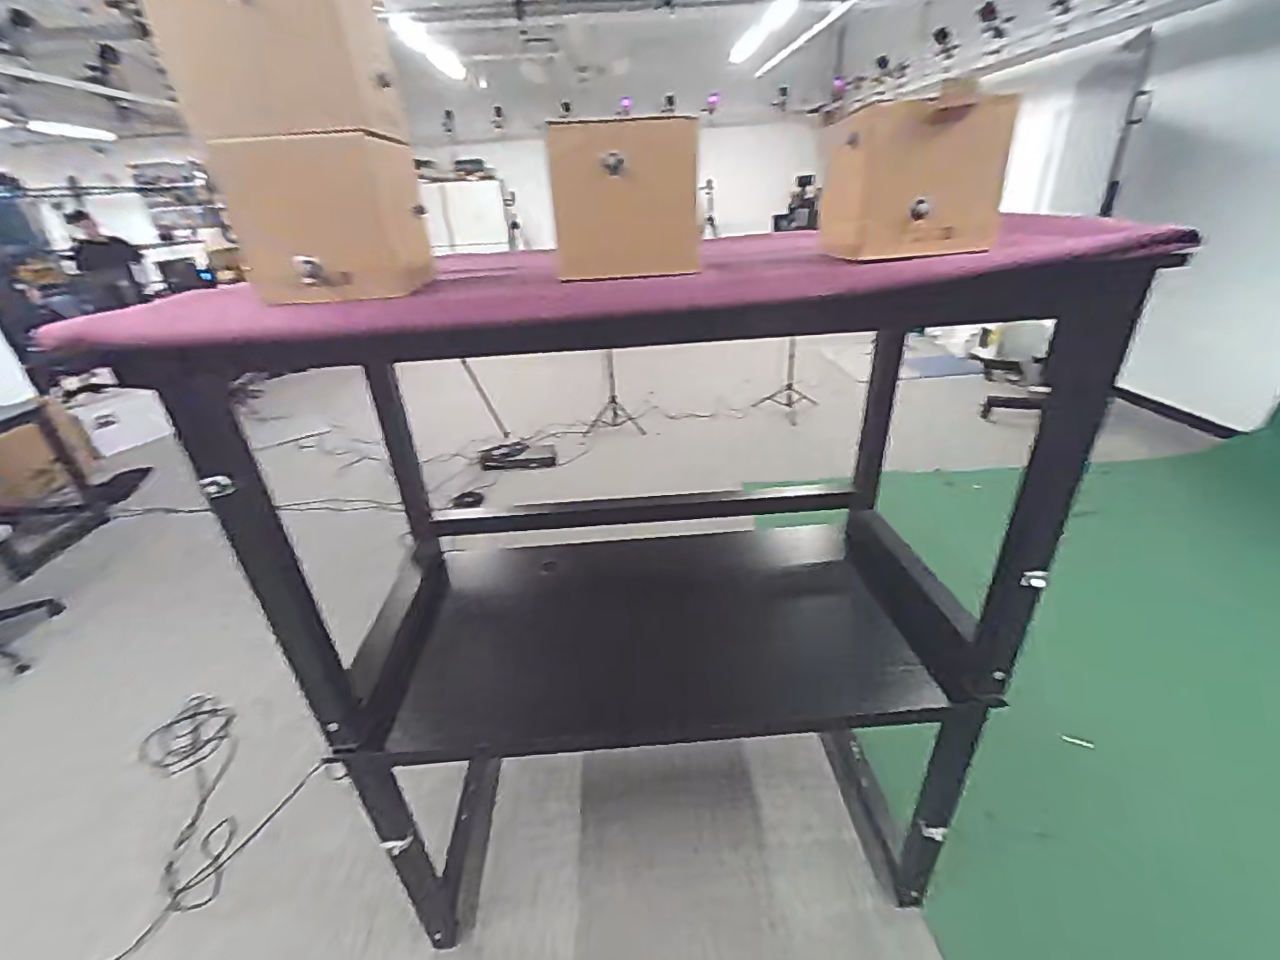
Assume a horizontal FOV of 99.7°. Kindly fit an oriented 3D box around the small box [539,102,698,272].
[{"bbox_3d":[-0.022,-0.365,0.695,0.179,0.176,0.168,-3,27,0],"label":"small box"}]

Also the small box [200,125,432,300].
[{"bbox_3d":[-0.368,-0.321,0.659,0.168,0.176,0.179,-7,29,-4],"label":"small box"}]

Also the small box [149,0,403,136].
[{"bbox_3d":[-0.384,-0.467,0.583,0.179,0.176,0.168,-7,29,-4],"label":"small box"}]

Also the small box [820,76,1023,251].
[{"bbox_3d":[0.338,-0.390,0.692,0.168,0.176,0.179,-4,26,2],"label":"small box"}]
